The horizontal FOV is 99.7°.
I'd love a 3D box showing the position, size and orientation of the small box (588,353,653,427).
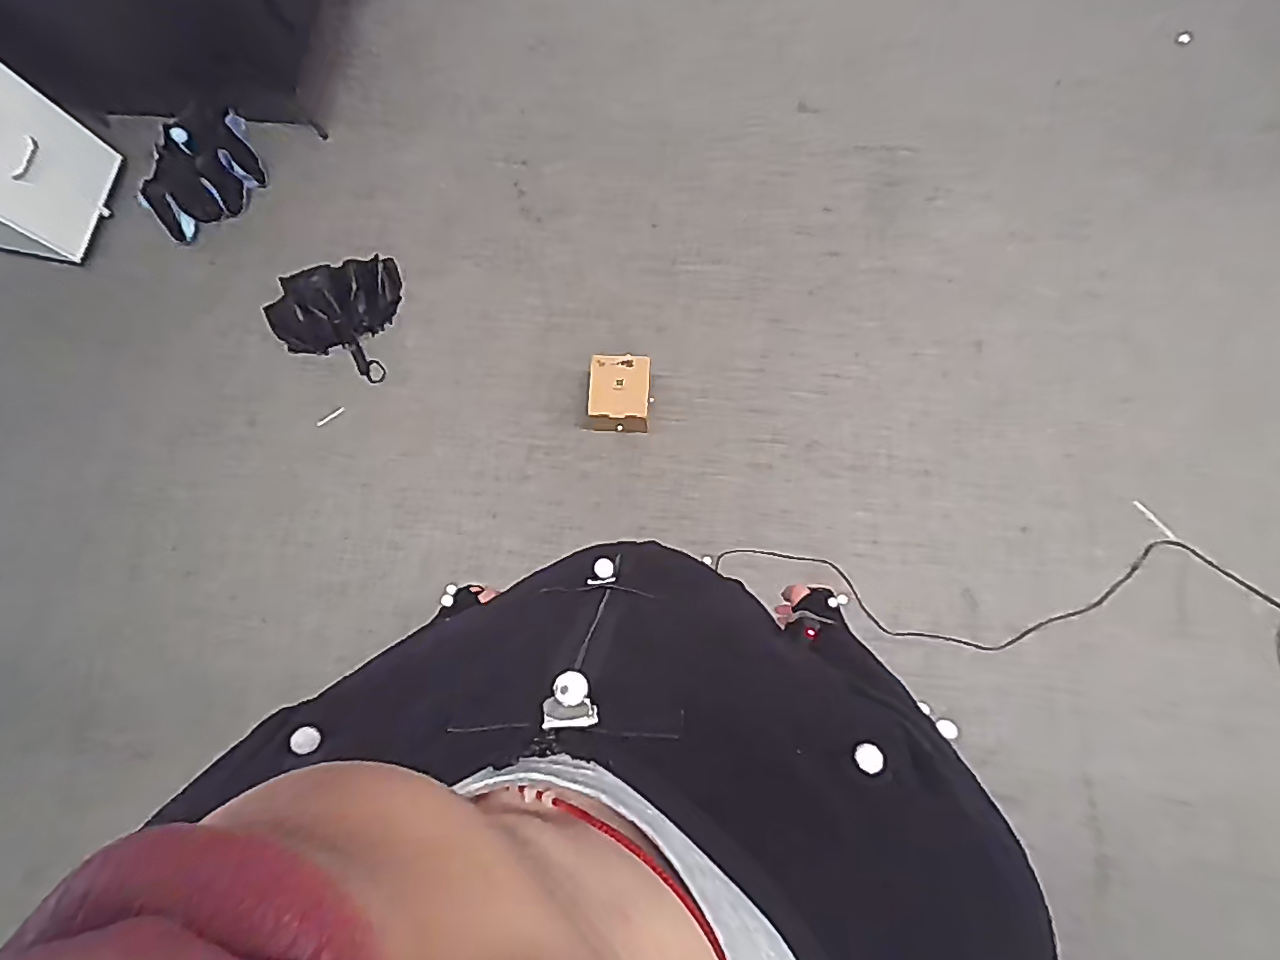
[{"bbox_3d":[-0.050,-0.254,1.562,0.168,0.176,0.179,3,83,4],"label":"small box"}]
